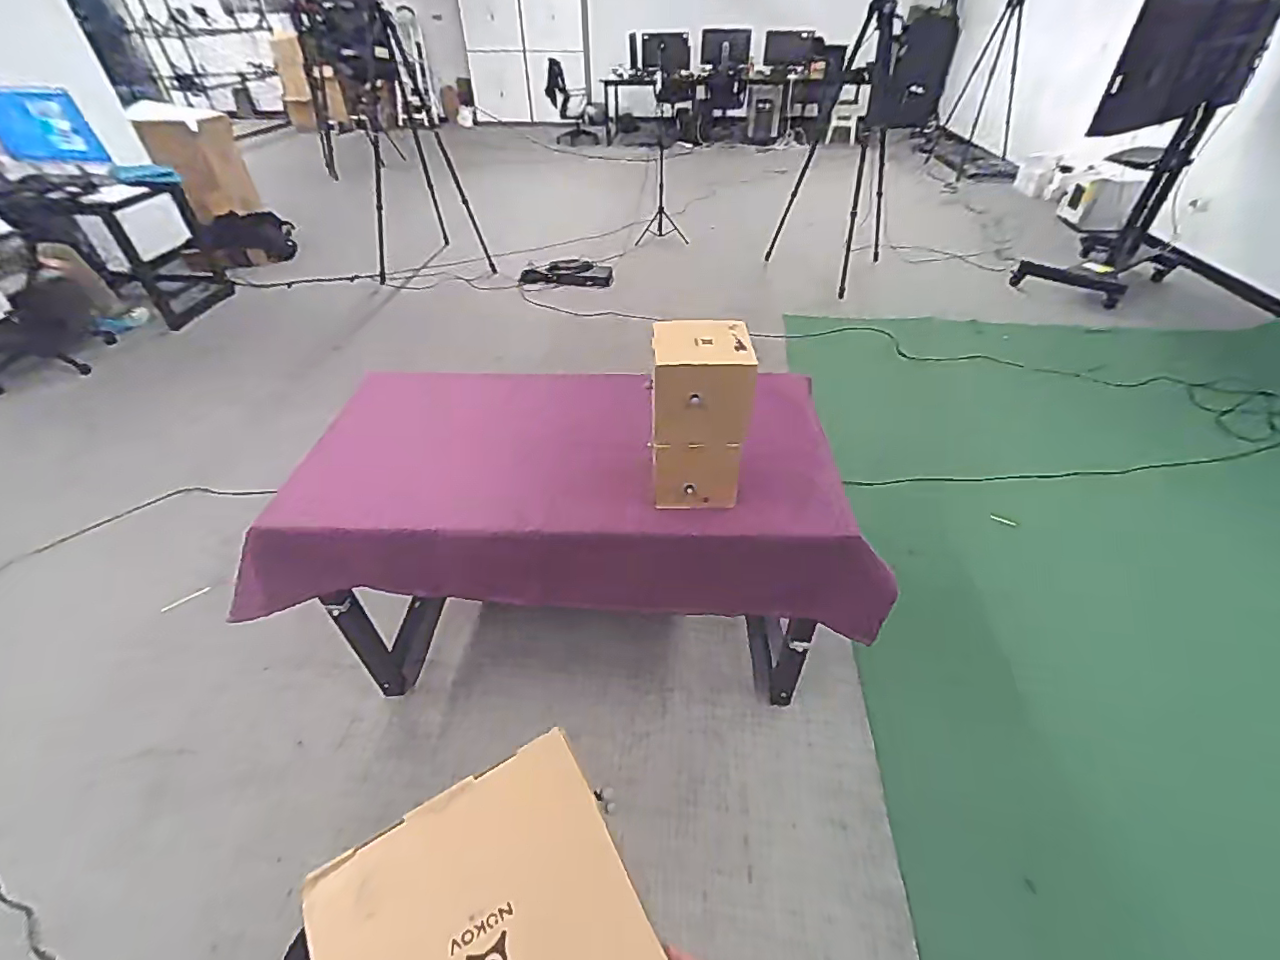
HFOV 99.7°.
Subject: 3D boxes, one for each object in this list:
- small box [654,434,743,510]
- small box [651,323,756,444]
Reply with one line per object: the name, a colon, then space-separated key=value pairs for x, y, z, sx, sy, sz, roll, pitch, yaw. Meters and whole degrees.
small box: x=0.113 y=-0.058 z=1.128 sx=0.168 sy=0.176 sz=0.179 roll=-1 pitch=42 yaw=1
small box: x=0.112 y=-0.179 z=1.018 sx=0.179 sy=0.176 sz=0.168 roll=-1 pitch=42 yaw=1
